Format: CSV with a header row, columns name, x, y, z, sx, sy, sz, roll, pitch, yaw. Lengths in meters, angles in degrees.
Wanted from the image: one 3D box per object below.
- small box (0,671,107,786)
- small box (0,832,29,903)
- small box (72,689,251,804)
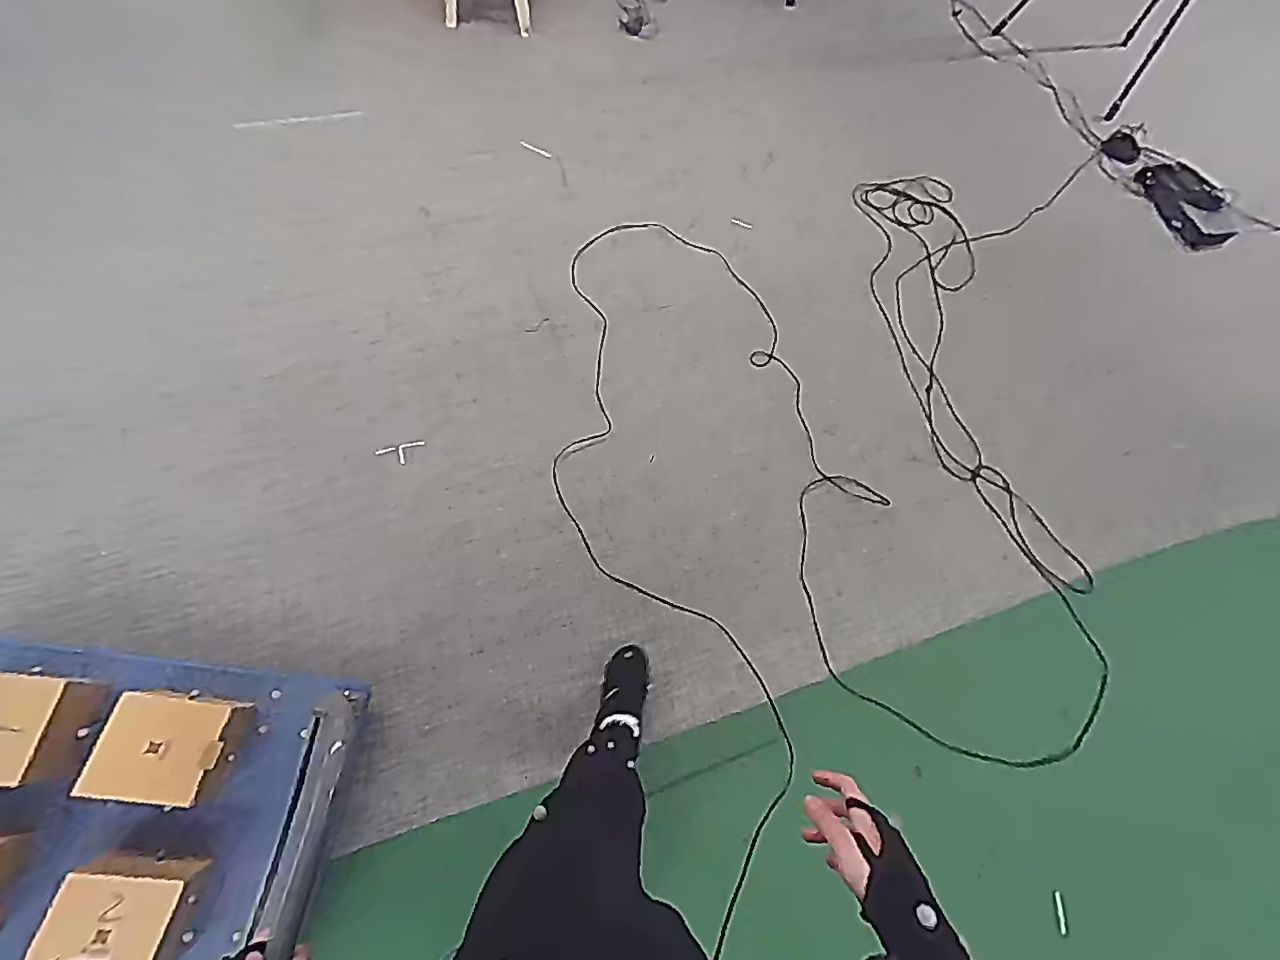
name,x,y,z,sx,sy,sz,roll,pitch,yaw
small box,-1.105,0.426,0.943,0.179,0.176,0.168,14,65,-19
small box,-1.132,0.657,0.837,0.179,0.176,0.168,12,64,-19
small box,-0.879,0.496,1.017,0.179,0.176,0.168,17,64,-18
